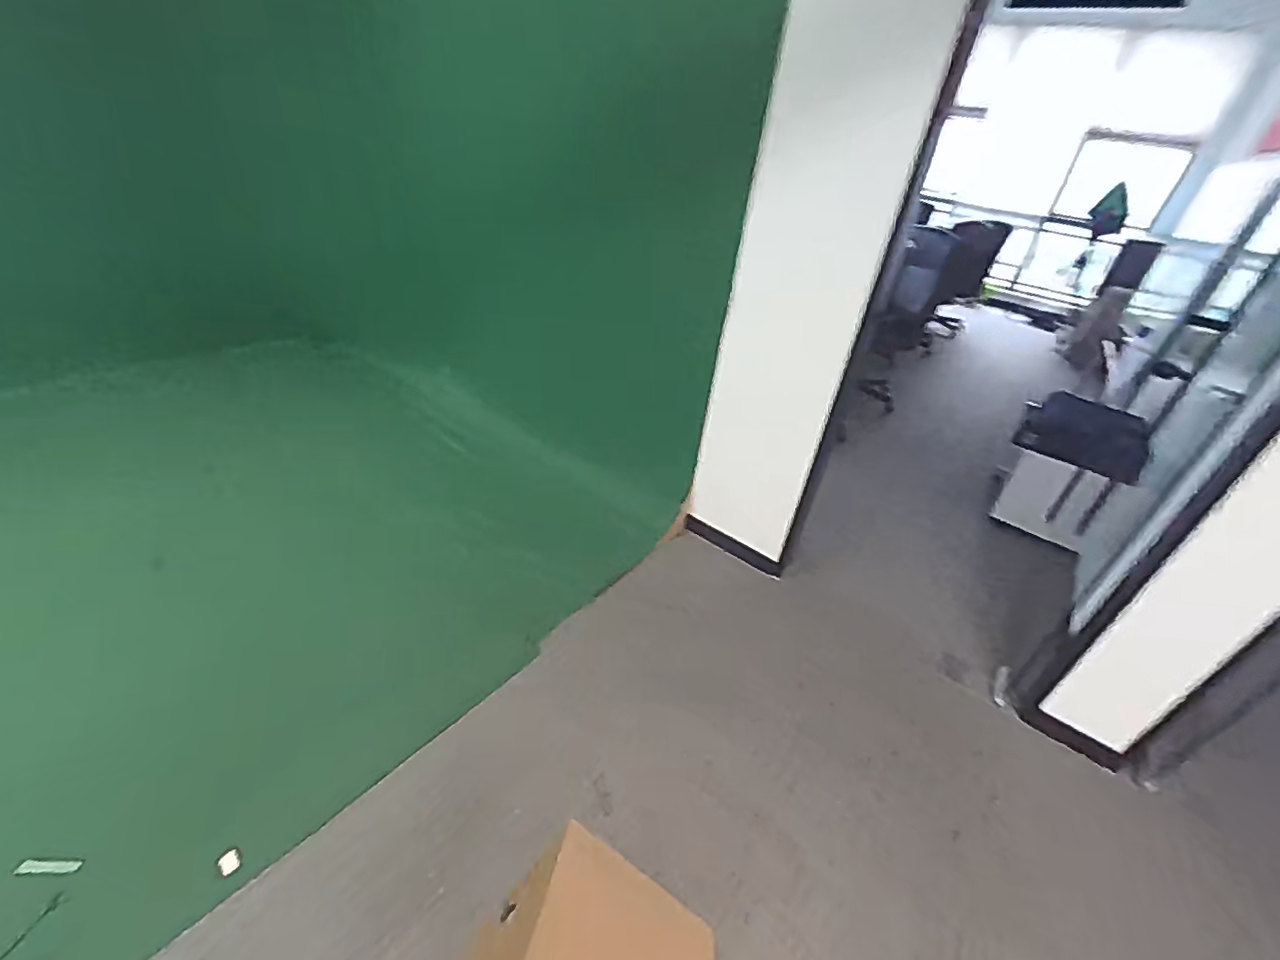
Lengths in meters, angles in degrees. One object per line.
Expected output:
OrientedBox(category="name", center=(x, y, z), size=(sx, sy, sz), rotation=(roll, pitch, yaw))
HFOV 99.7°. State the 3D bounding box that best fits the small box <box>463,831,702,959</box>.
OrientedBox(category="small box", center=(-0.058, 0.451, 0.453), size=(0.179, 0.168, 0.176), rotation=(37, 6, 2))
